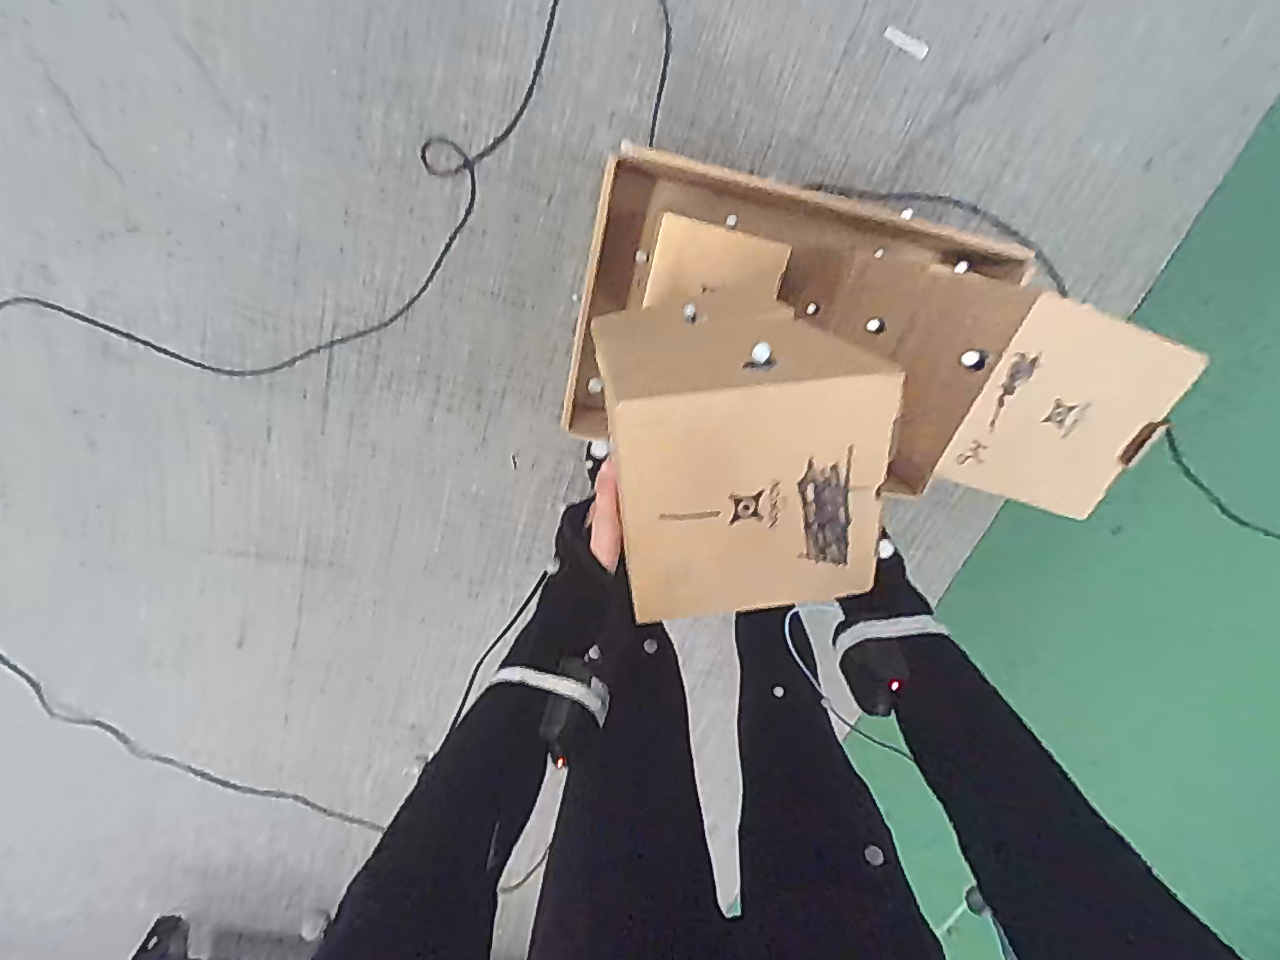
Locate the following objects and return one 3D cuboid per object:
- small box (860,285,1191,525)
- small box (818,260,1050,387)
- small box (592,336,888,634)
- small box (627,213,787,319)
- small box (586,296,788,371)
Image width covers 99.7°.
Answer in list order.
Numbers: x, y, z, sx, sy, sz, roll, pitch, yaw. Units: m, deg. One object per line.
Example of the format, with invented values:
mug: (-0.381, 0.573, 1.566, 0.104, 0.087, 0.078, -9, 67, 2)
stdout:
small box: (0.351, -0.083, 0.538, 0.179, 0.176, 0.168, 16, 113, -11)
small box: (0.346, -0.166, 0.682, 0.168, 0.176, 0.179, 13, 115, -9)
small box: (0.059, -0.009, 0.422, 0.179, 0.176, 0.168, -7, 117, -3)
small box: (0.083, -0.278, 0.789, 0.179, 0.176, 0.168, 10, 115, -10)
small box: (0.046, -0.085, 0.567, 0.179, 0.176, 0.168, -13, 117, 0)
